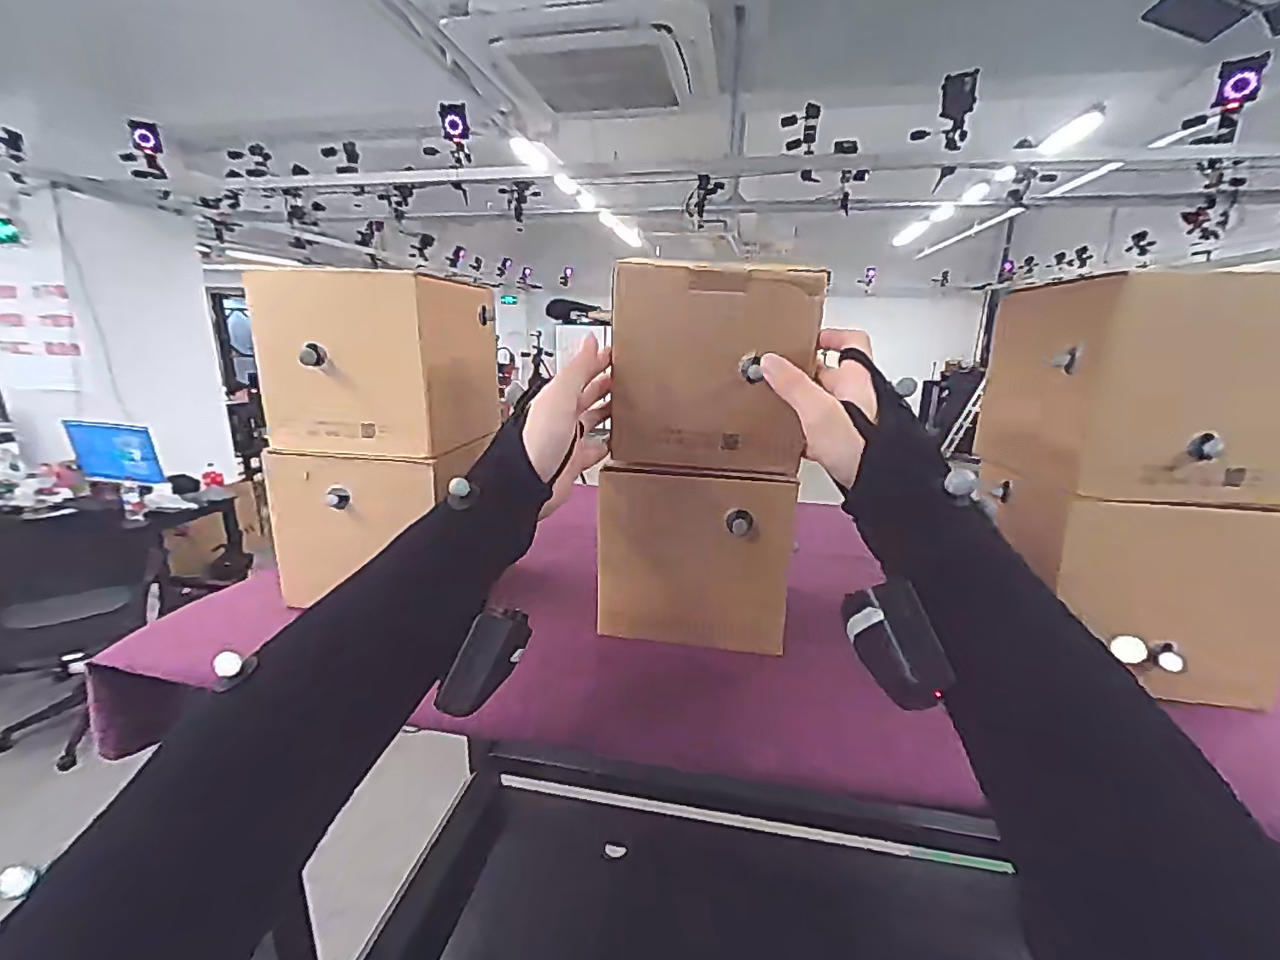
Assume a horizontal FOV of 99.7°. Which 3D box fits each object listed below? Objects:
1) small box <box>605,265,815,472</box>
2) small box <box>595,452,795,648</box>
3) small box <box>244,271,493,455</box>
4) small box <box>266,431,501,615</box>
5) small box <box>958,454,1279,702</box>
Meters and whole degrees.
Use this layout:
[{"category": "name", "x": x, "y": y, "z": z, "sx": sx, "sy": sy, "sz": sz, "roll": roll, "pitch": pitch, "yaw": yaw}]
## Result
[{"category": "small box", "x": 0.065, "y": -0.114, "z": 0.522, "sx": 0.168, "sy": 0.176, "sz": 0.179, "roll": 5, "pitch": 21, "yaw": 7}, {"category": "small box", "x": 0.058, "y": 0.055, "z": 0.563, "sx": 0.179, "sy": 0.176, "sz": 0.168, "roll": 3, "pitch": 14, "yaw": 10}, {"category": "small box", "x": -0.264, "y": -0.122, "z": 0.573, "sx": 0.168, "sy": 0.176, "sz": 0.179, "roll": 3, "pitch": 14, "yaw": 7}, {"category": "small box", "x": -0.270, "y": 0.037, "z": 0.608, "sx": 0.179, "sy": 0.176, "sz": 0.168, "roll": 4, "pitch": 15, "yaw": 7}, {"category": "small box", "x": 0.425, "y": 0.078, "z": 0.497, "sx": 0.179, "sy": 0.176, "sz": 0.168, "roll": 4, "pitch": 13, "yaw": 9}]
